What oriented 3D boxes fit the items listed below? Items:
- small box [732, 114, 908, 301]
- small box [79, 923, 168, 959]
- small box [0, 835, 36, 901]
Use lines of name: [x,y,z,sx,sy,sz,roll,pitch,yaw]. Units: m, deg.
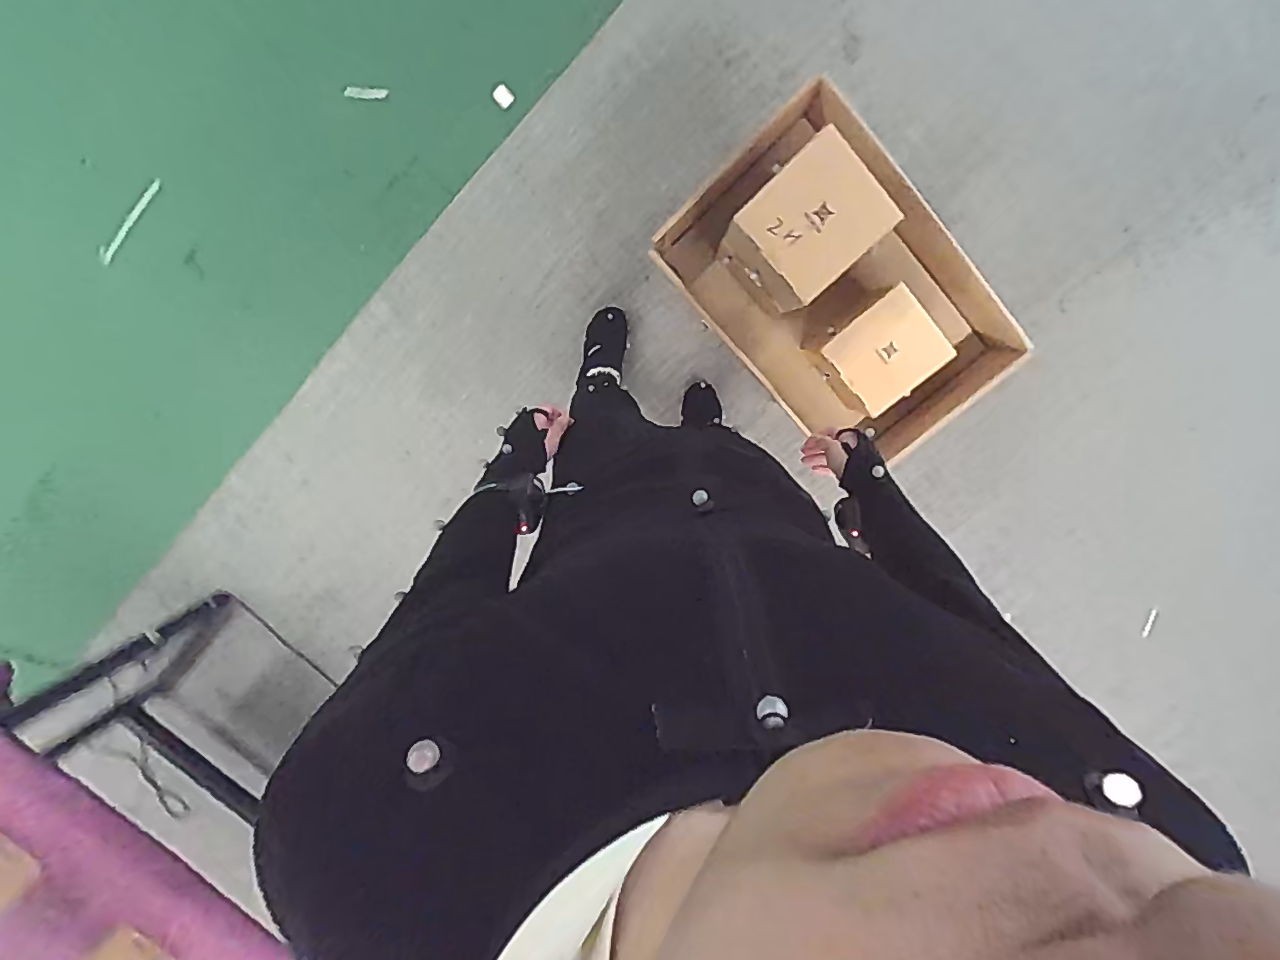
small box: [0.259,-0.398,0.827,0.179,0.176,0.168,-41,98,13]
small box: [-1.212,1.150,1.206,0.168,0.176,0.179,44,104,-7]
small box: [-1.486,0.877,1.153,0.168,0.176,0.179,-43,98,14]
